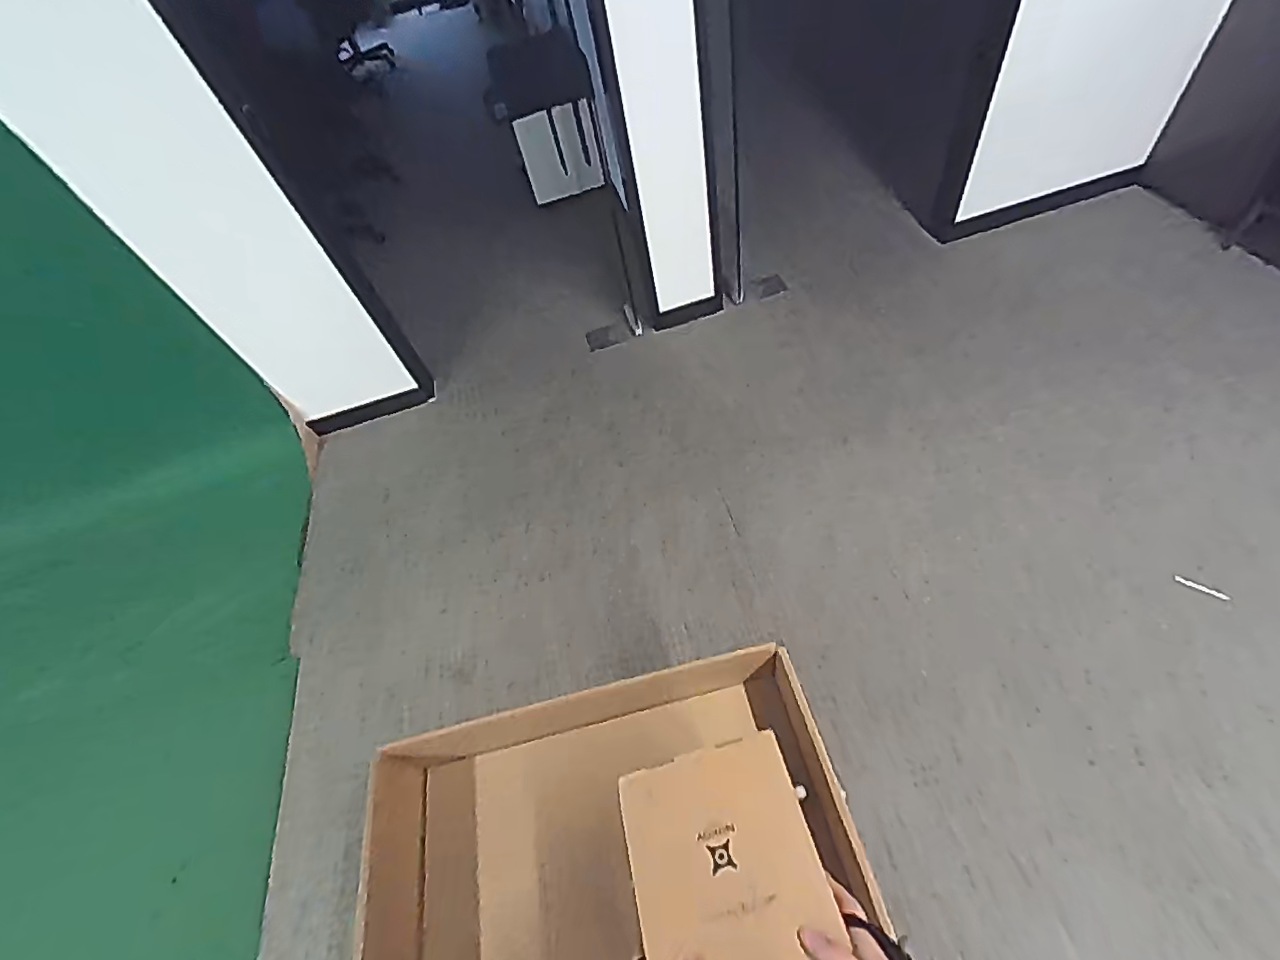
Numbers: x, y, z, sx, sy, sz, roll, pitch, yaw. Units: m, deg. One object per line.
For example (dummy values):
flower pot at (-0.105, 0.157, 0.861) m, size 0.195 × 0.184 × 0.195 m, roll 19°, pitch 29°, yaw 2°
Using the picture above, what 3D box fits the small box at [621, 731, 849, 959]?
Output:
small box at (0.089, 0.389, 0.542) m, size 0.168 × 0.176 × 0.179 m, roll -17°, pitch 44°, yaw 1°
